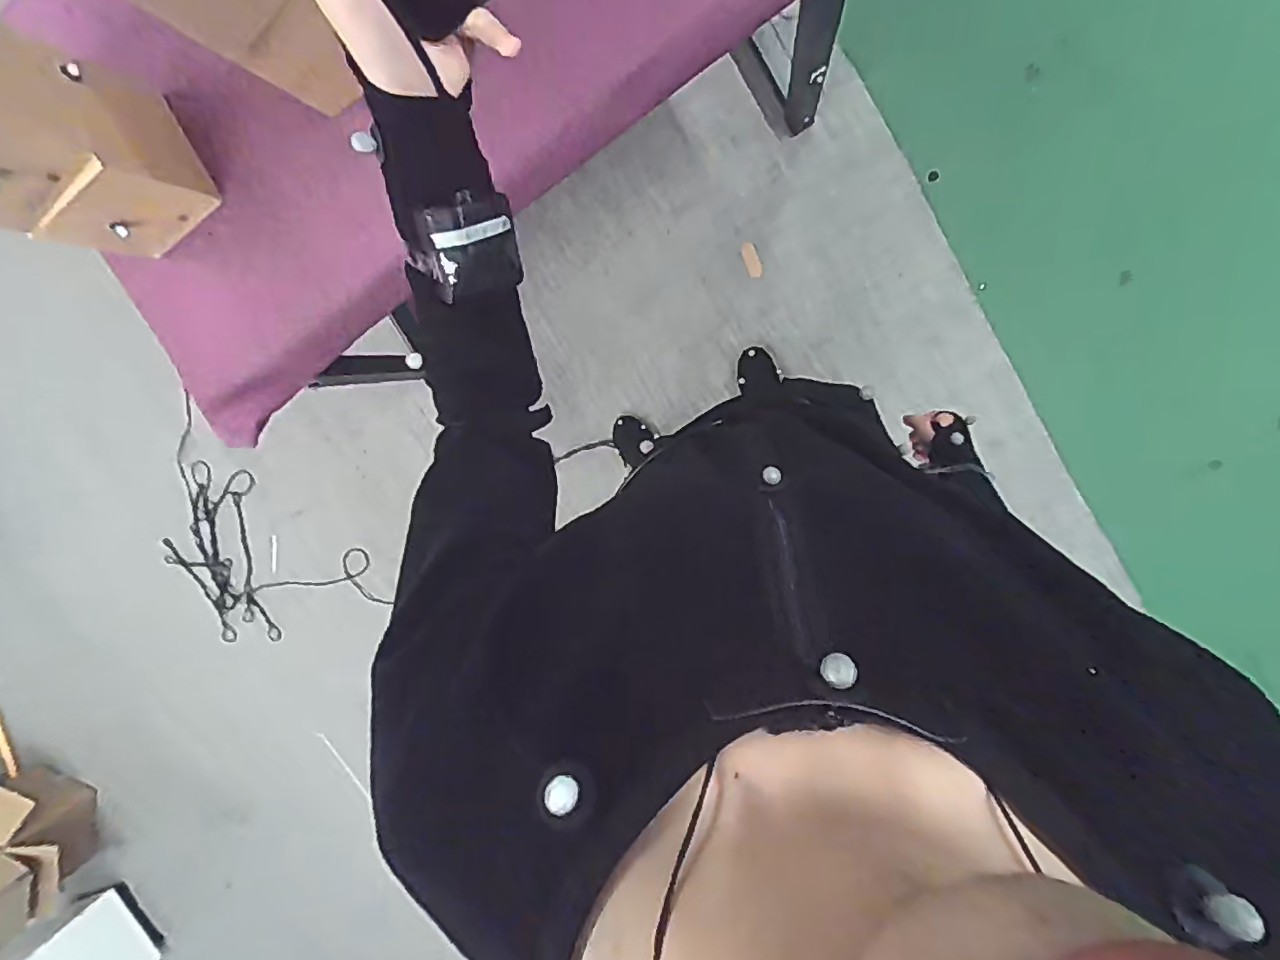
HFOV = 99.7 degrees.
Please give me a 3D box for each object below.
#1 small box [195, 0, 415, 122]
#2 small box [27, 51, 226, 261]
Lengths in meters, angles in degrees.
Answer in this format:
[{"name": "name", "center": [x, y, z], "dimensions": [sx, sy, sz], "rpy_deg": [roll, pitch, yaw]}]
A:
[{"name": "small box", "center": [-0.406, -0.588, 0.654], "dimensions": [0.179, 0.176, 0.168], "rpy_deg": [-28, 95, 16]}, {"name": "small box", "center": [-0.747, -0.432, 0.763], "dimensions": [0.168, 0.176, 0.179], "rpy_deg": [-27, 95, 16]}]
